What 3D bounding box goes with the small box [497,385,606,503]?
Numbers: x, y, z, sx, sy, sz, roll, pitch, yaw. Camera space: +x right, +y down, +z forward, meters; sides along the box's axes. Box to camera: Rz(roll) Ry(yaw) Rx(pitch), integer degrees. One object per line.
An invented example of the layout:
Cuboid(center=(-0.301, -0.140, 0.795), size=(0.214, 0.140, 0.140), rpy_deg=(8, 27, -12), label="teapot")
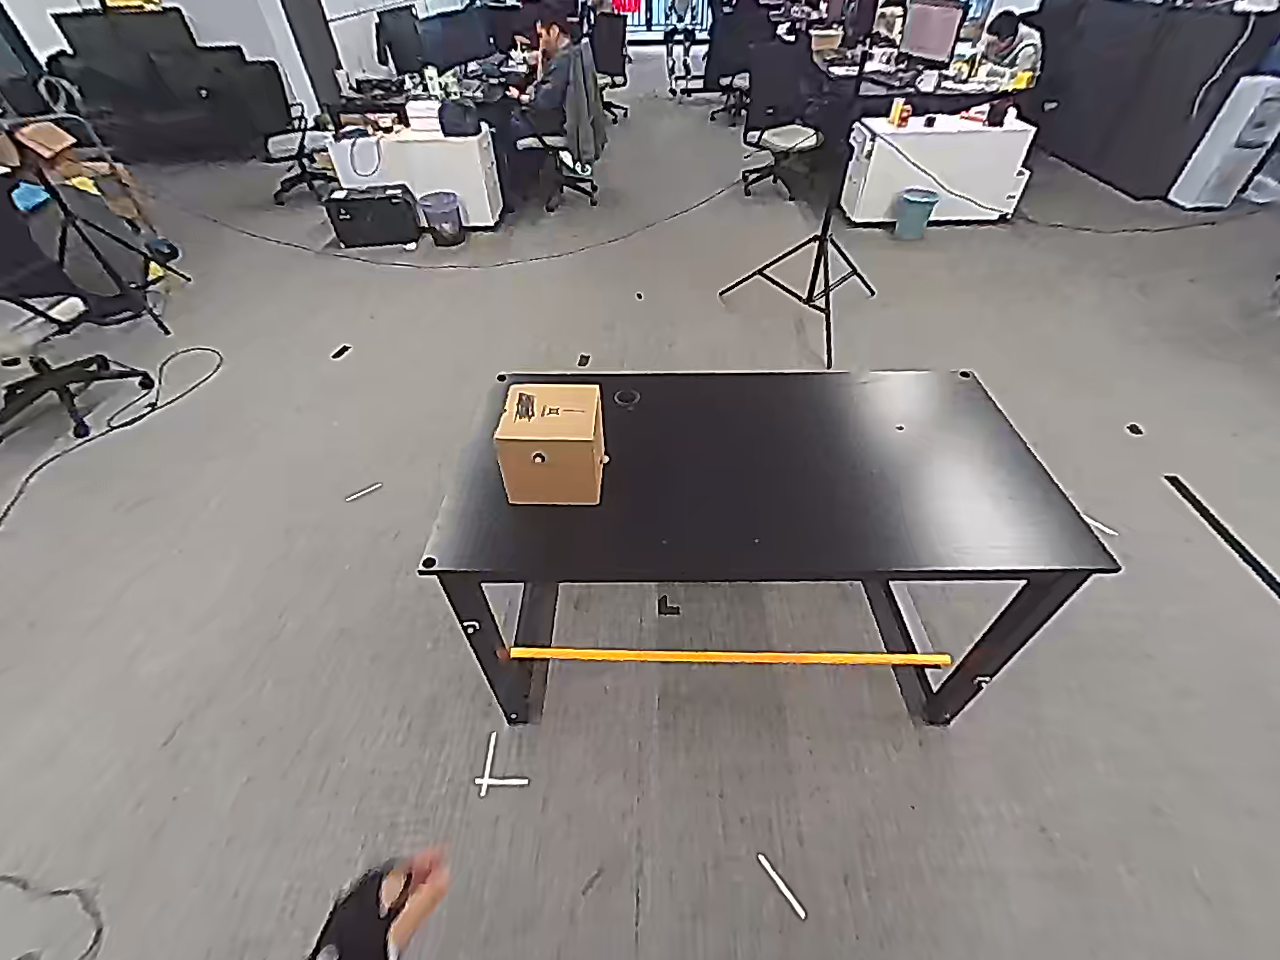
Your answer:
Cuboid(center=(-0.162, -0.068, 1.053), size=(0.179, 0.176, 0.168), rpy_deg=(1, 45, 1), label="small box")
